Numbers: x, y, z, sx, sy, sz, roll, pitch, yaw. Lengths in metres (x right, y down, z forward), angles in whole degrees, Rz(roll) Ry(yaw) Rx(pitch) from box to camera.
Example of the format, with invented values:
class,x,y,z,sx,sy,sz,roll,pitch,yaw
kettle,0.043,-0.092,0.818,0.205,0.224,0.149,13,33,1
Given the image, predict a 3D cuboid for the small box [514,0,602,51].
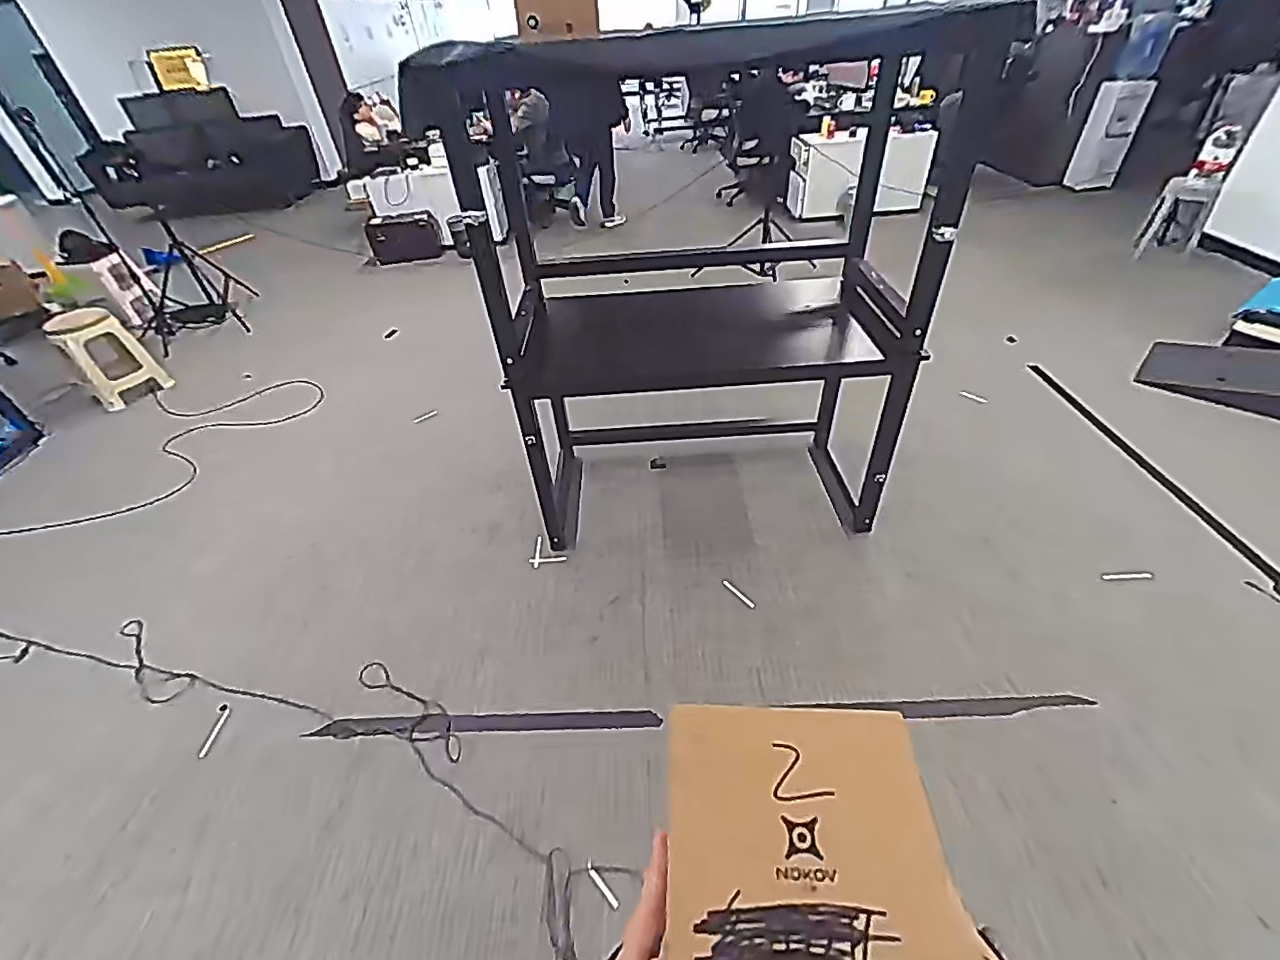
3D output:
class,x,y,z,sx,sy,sz,roll,pitch,yaw
small box,-0.167,-0.983,1.093,0.168,0.176,0.179,-4,39,-1
